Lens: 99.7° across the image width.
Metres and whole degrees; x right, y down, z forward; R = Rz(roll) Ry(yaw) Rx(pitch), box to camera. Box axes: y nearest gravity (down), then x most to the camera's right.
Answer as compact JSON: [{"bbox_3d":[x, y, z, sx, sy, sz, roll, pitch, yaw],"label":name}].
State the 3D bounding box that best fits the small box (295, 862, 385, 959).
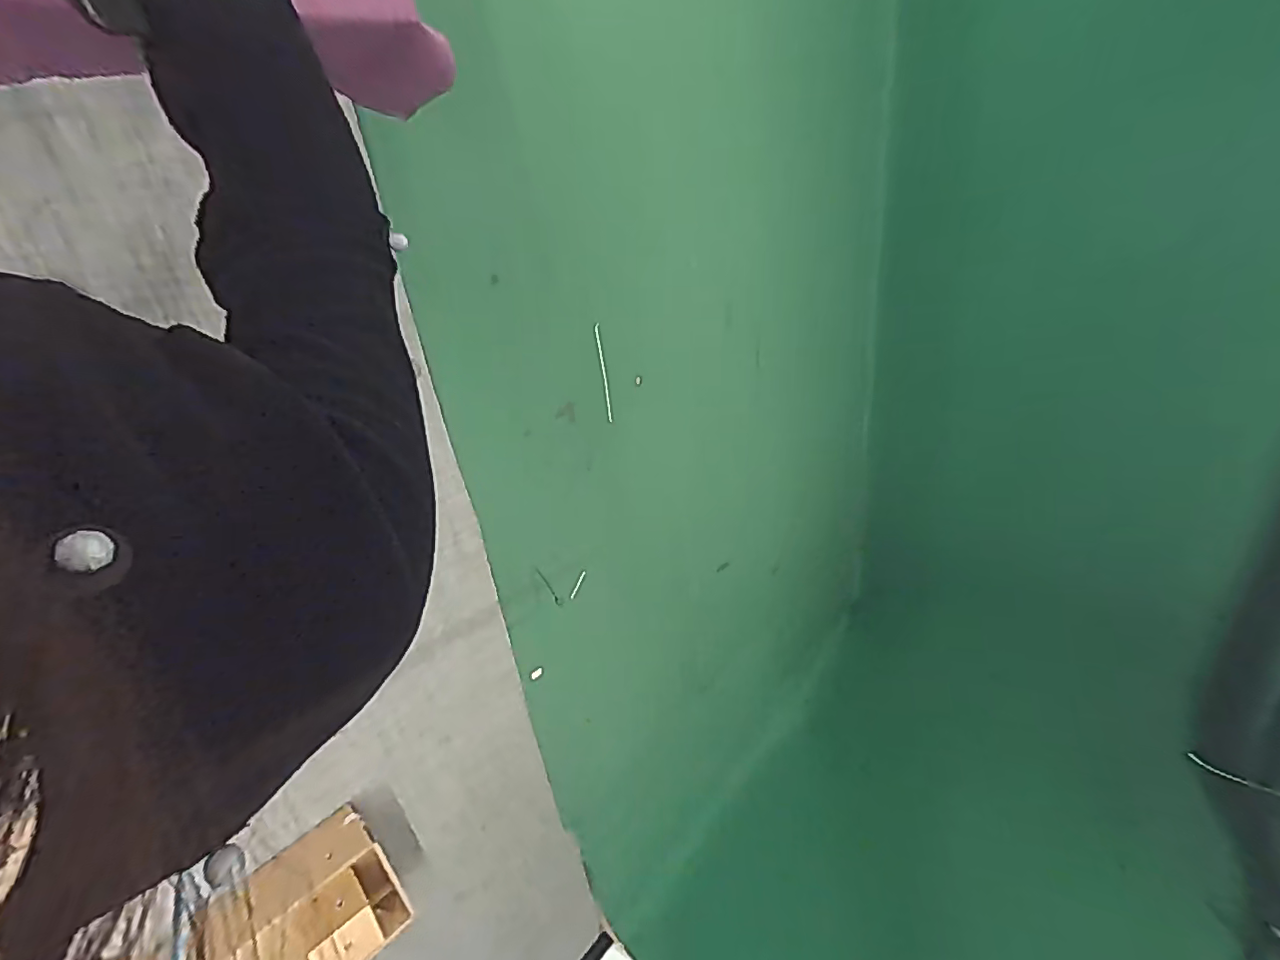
[{"bbox_3d":[-0.891,1.285,1.603,0.168,0.176,0.179,-25,121,-39],"label":"small box"}]
